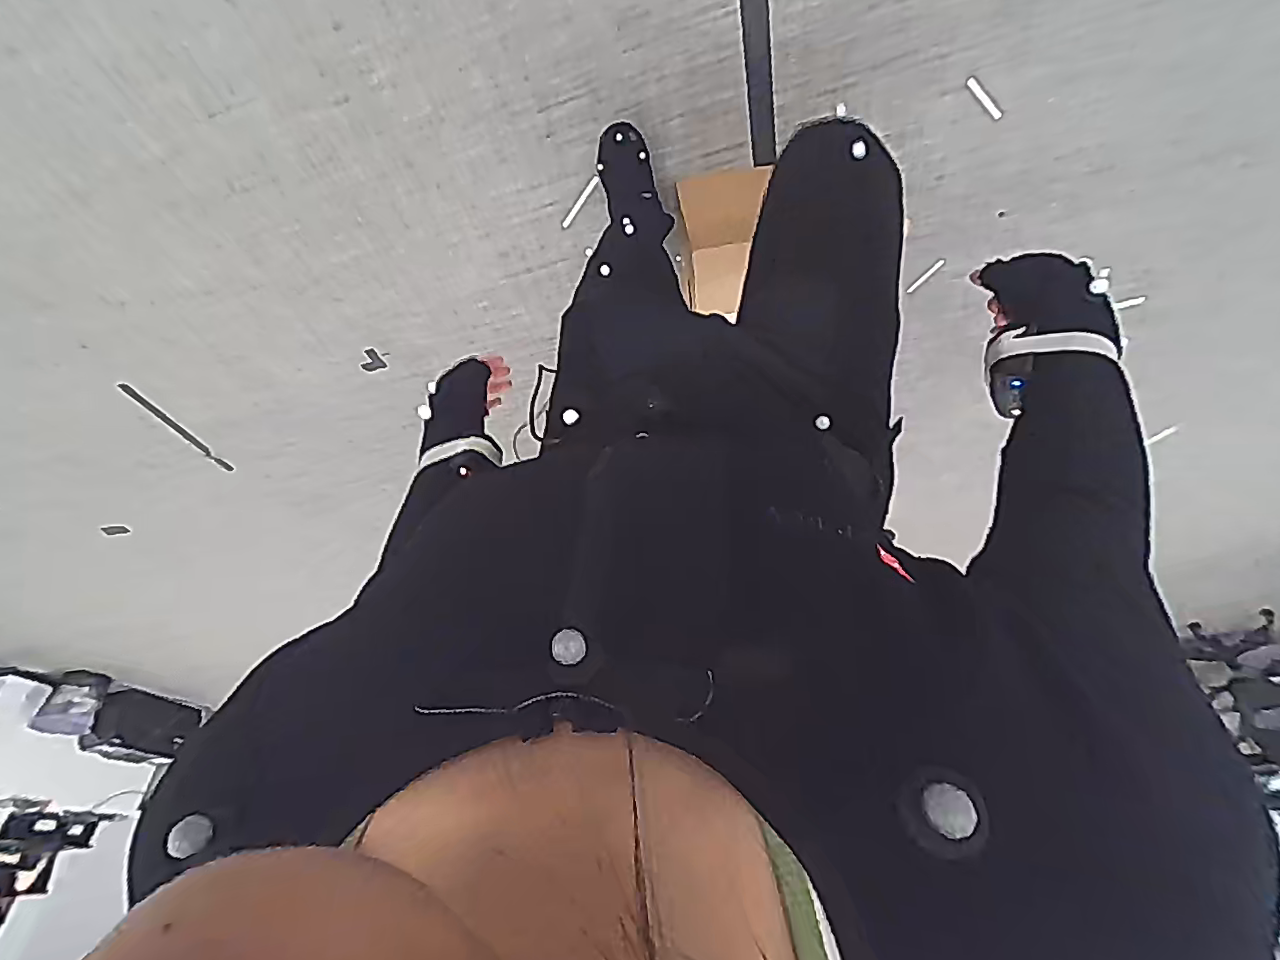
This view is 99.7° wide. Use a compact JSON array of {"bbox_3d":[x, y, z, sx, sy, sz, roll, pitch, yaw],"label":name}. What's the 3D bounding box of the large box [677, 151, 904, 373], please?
[{"bbox_3d":[0.307,-0.484,1.216,0.408,0.320,0.320,-8,141,4],"label":"large box"}]
